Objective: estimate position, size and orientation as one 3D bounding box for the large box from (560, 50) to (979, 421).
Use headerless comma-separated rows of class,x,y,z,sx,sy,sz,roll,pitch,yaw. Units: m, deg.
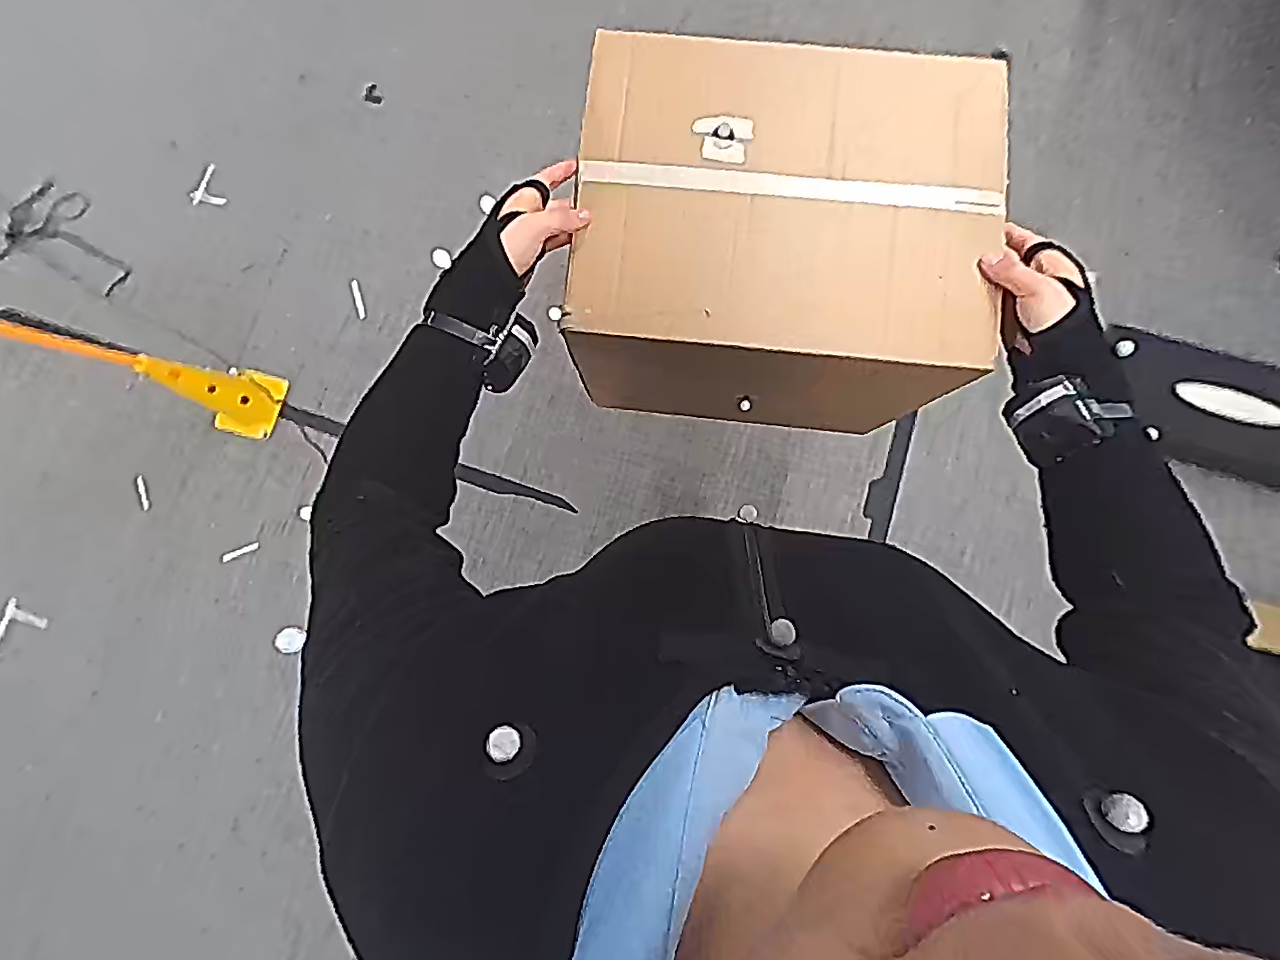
large box,0.136,-0.261,0.678,0.408,0.320,0.320,4,83,2
